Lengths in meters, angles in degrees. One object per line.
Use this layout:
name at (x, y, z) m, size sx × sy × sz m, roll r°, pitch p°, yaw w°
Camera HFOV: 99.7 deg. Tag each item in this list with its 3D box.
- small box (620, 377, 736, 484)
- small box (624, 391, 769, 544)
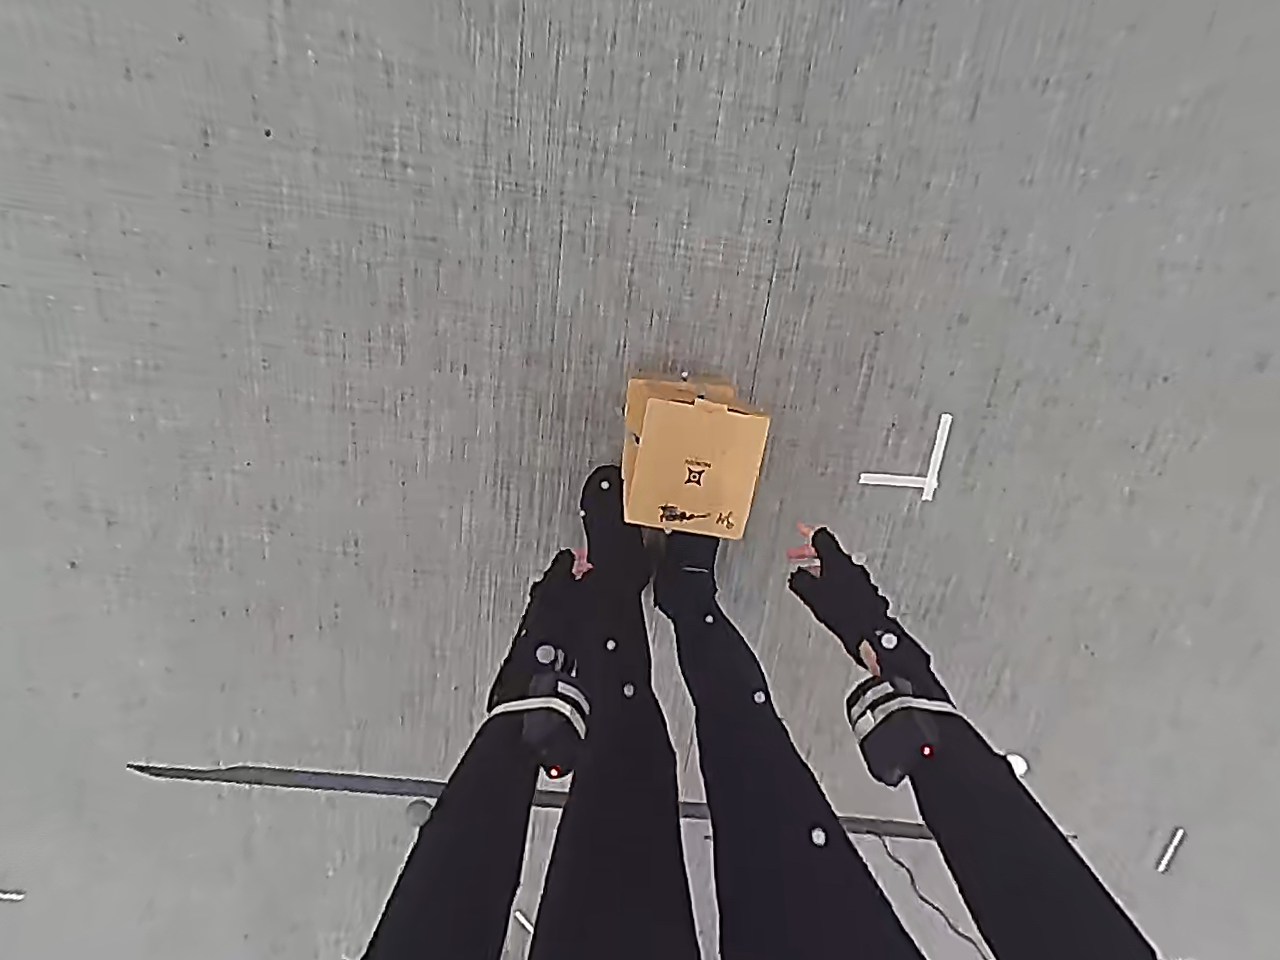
small box at (0.058, -0.087, 0.946) m, size 0.179 × 0.176 × 0.168 m, roll 4°, pitch 105°, yaw -2°
small box at (0.069, -0.028, 0.793) m, size 0.168 × 0.176 × 0.179 m, roll 10°, pitch 104°, yaw -5°
